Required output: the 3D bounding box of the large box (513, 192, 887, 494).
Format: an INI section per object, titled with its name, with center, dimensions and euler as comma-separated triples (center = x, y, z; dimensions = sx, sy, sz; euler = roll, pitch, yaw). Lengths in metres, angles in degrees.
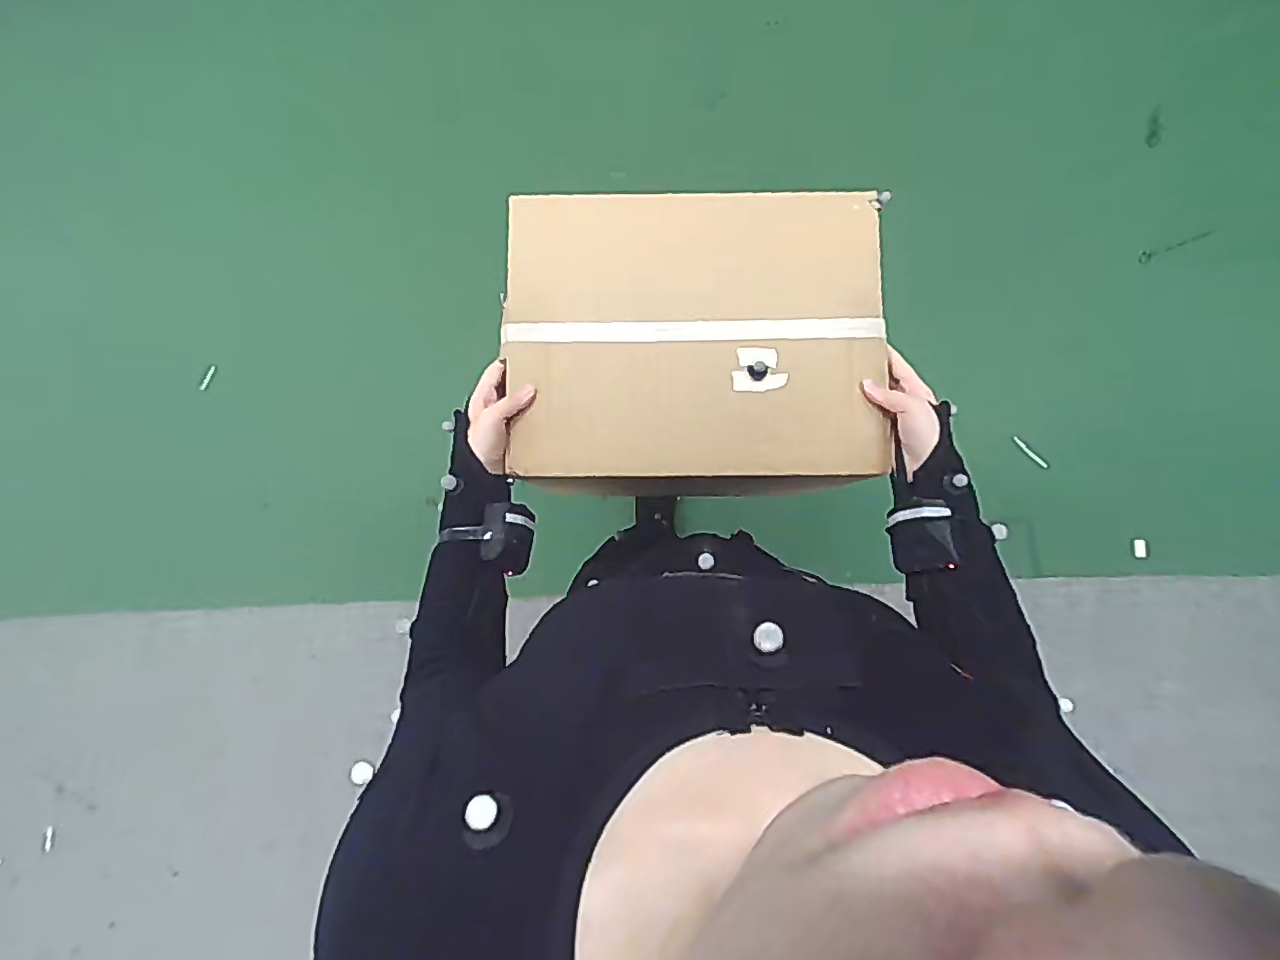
[large box]
center = 0.059, -0.151, 0.732
dimensions = 0.408, 0.320, 0.320
euler = 0, 85, 0
